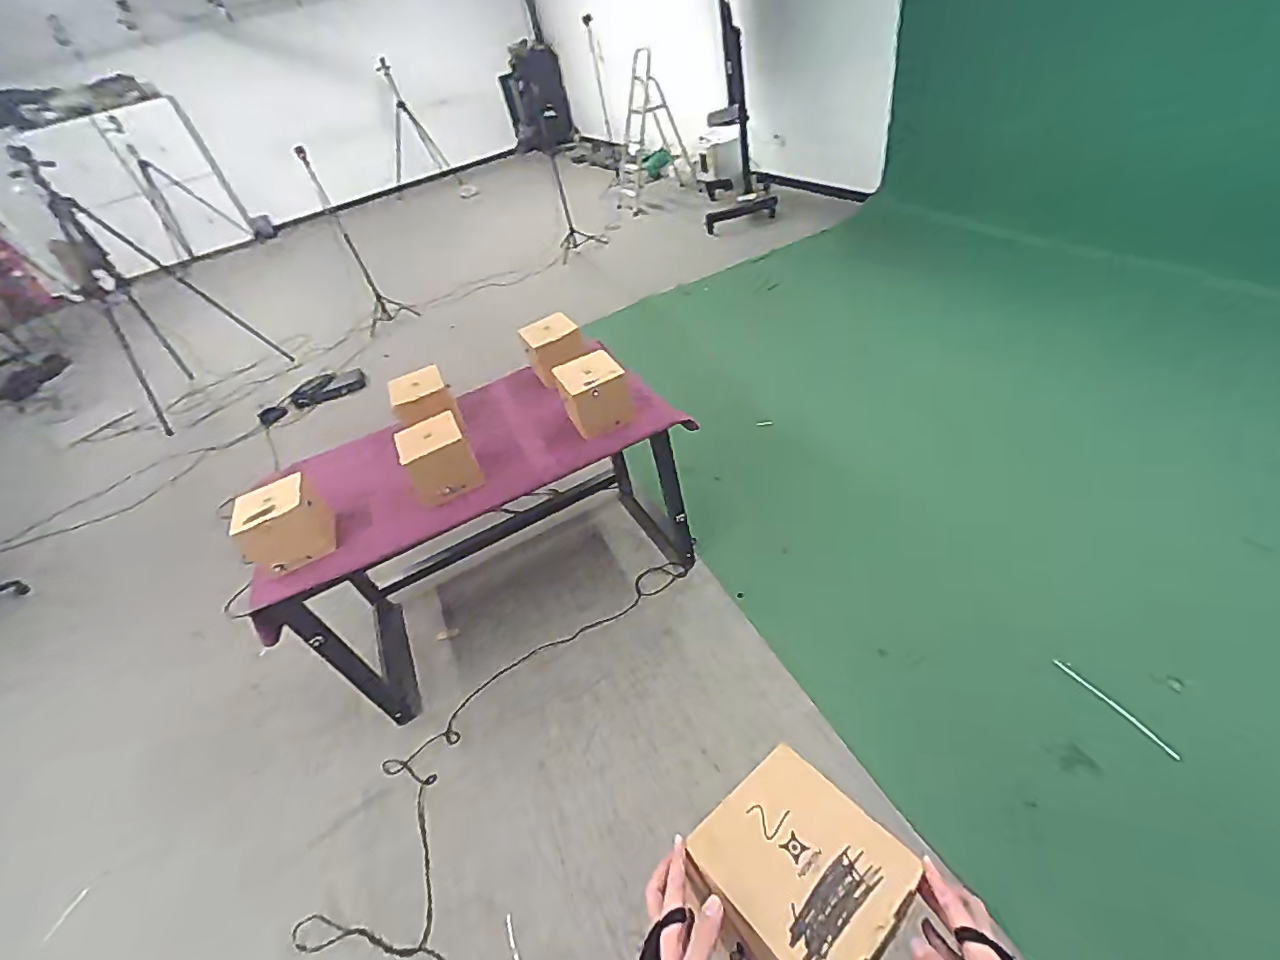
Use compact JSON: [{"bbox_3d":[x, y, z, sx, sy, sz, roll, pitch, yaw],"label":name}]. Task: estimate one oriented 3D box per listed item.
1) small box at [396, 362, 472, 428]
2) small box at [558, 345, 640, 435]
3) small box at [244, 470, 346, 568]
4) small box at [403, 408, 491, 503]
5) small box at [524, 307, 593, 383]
[{"bbox_3d":[-0.668,-0.251,1.756,0.168,0.176,0.179,-25,44,-10],"label":"small box"},{"bbox_3d":[-0.119,-0.263,1.587,0.168,0.176,0.179,-27,43,-9],"label":"small box"},{"bbox_3d":[-0.908,0.111,1.440,0.168,0.176,0.179,-26,41,-11],"label":"small box"},{"bbox_3d":[-0.540,-0.068,1.518,0.168,0.176,0.179,-27,42,-11],"label":"small box"},{"bbox_3d":[-0.271,-0.457,1.843,0.168,0.176,0.179,-30,44,-10],"label":"small box"}]
